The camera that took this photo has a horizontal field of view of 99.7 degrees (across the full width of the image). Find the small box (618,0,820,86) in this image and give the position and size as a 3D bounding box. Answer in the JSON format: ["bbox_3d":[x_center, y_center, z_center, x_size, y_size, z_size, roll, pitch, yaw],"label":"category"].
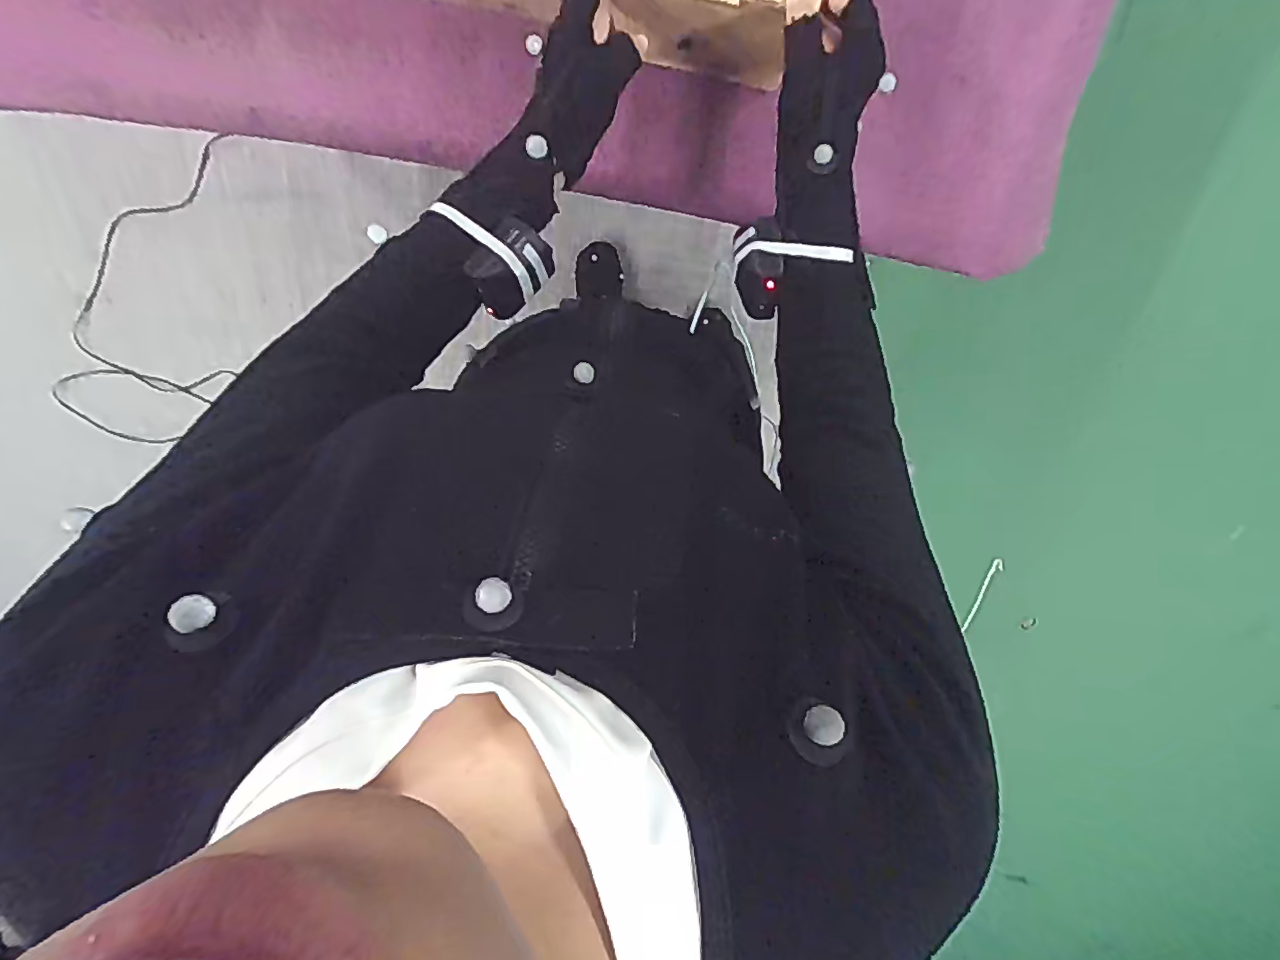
[{"bbox_3d":[0.073,-0.472,0.451,0.168,0.176,0.179,12,111,-2],"label":"small box"}]
